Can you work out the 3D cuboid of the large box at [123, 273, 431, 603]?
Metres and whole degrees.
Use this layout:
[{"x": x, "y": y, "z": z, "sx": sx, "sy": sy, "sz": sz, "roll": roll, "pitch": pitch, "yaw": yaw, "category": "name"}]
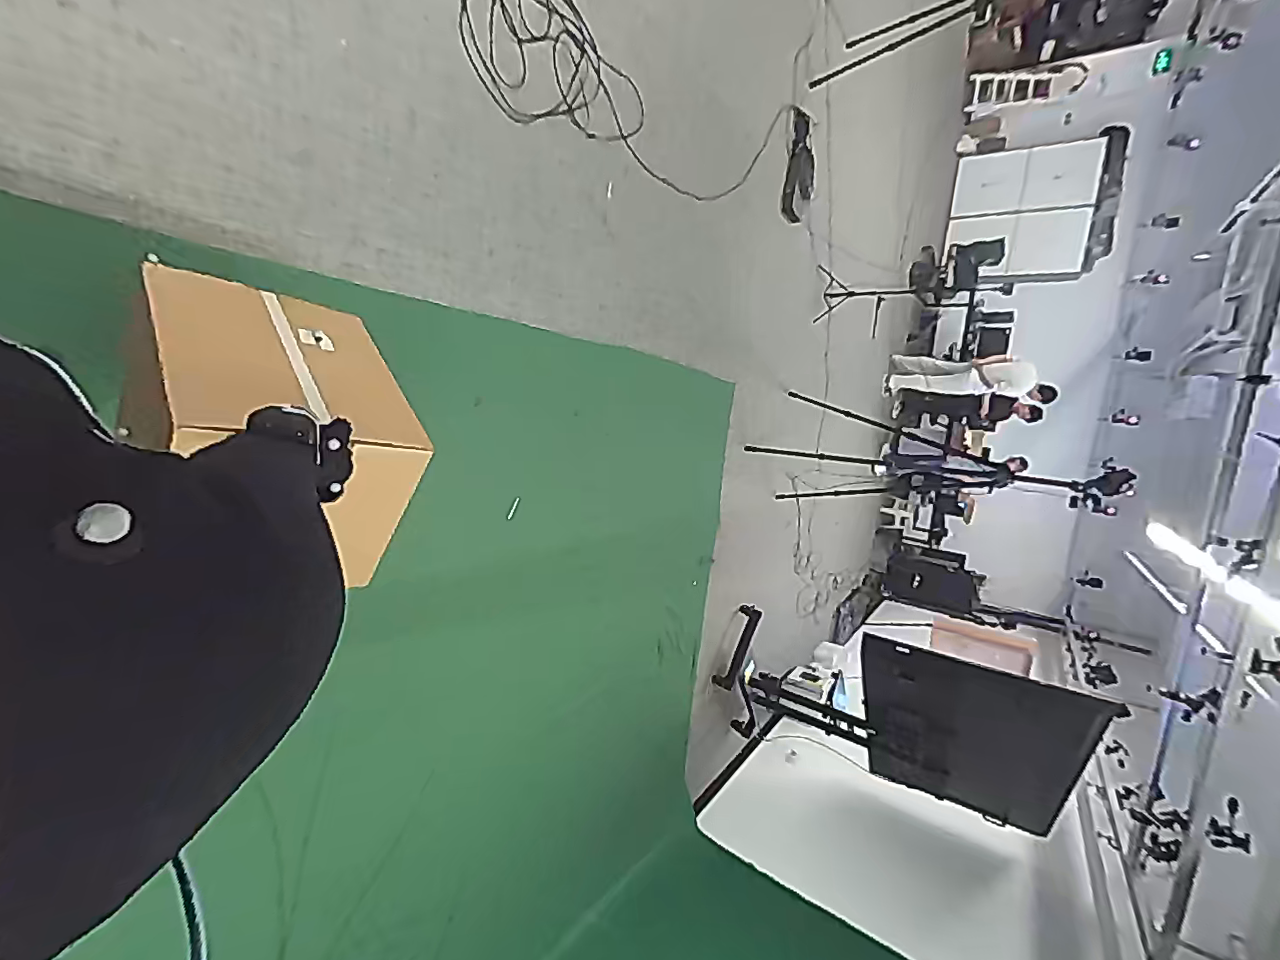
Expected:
[{"x": -0.610, "y": -0.065, "z": 0.888, "sx": 0.320, "sy": 0.408, "sz": 0.320, "roll": 5, "pitch": 127, "yaw": -50, "category": "large box"}]
